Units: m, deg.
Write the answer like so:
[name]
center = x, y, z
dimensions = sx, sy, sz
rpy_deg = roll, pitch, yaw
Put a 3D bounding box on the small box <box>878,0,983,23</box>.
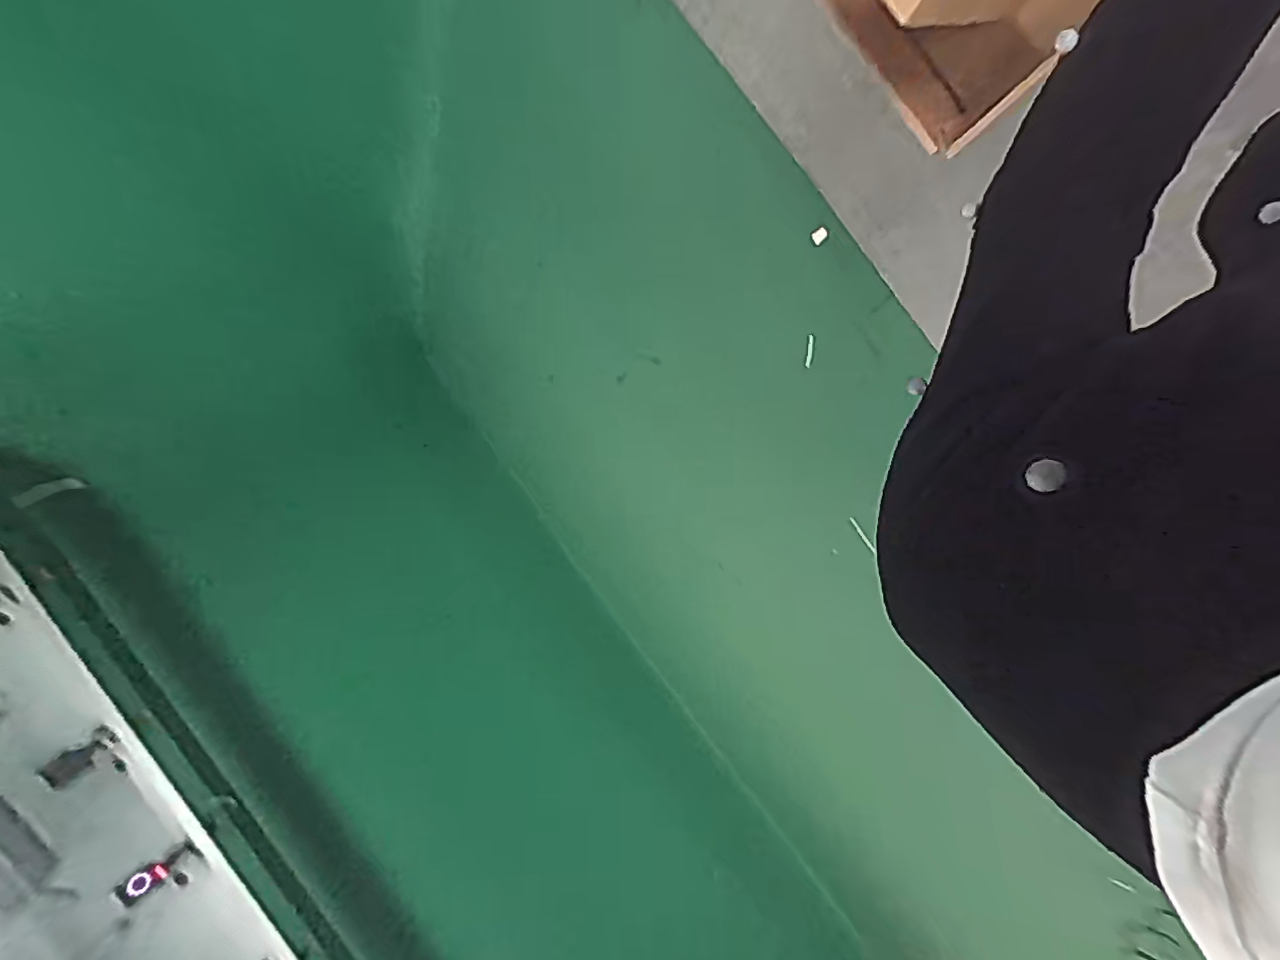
[small box]
center = 0.286, -0.550, 0.472
dimensions = 0.168, 0.176, 0.179
rpy_deg = 54, 146, 1
